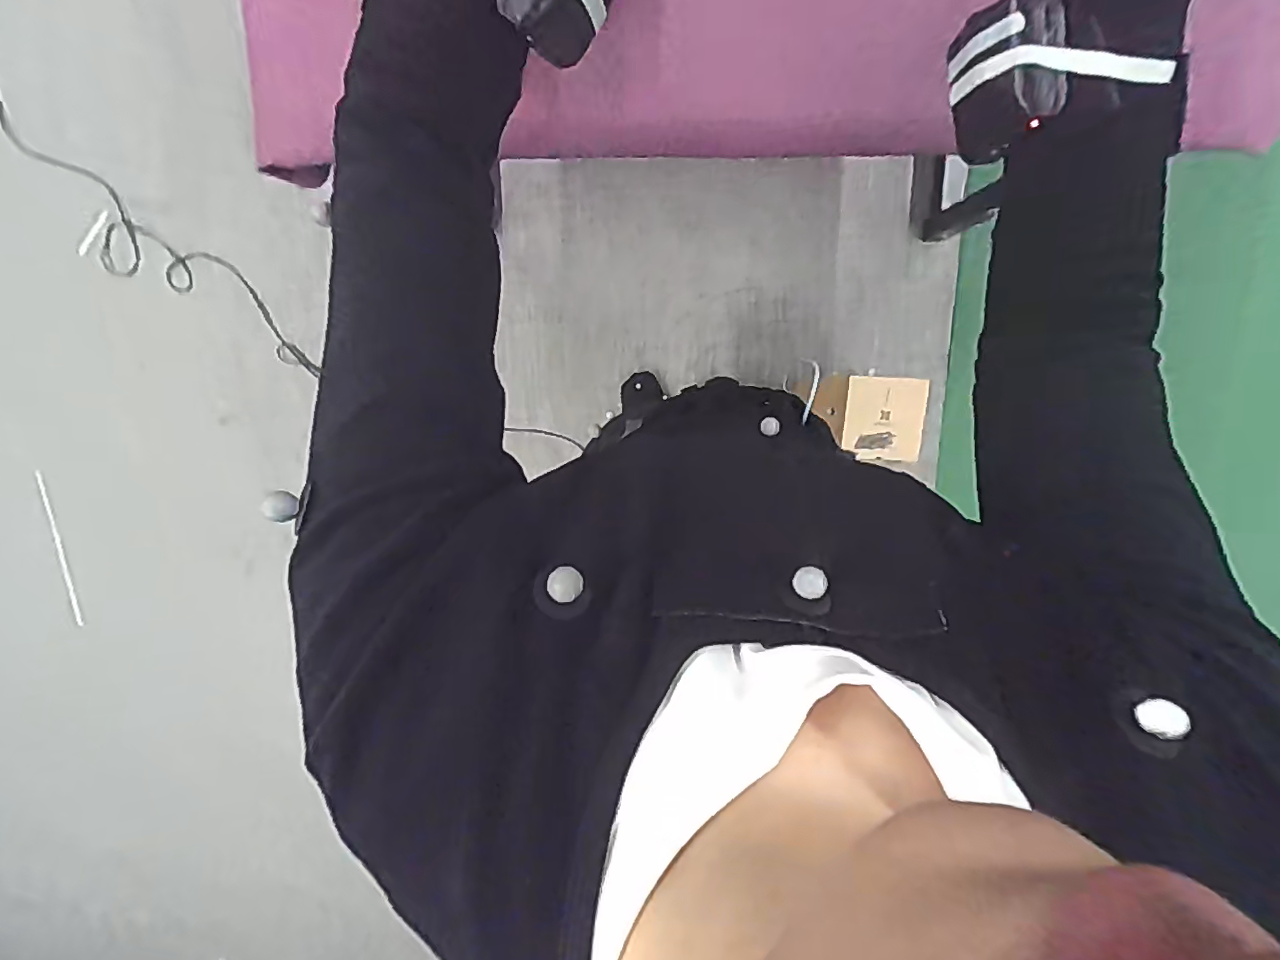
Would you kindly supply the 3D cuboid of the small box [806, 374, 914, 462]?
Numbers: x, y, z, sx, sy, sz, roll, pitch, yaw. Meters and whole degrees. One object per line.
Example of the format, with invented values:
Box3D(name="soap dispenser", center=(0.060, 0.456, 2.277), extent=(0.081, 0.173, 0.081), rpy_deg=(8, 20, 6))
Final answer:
Box3D(name="small box", center=(0.480, -0.143, 1.207), extent=(0.168, 0.176, 0.179), rpy_deg=(3, 101, 0))
